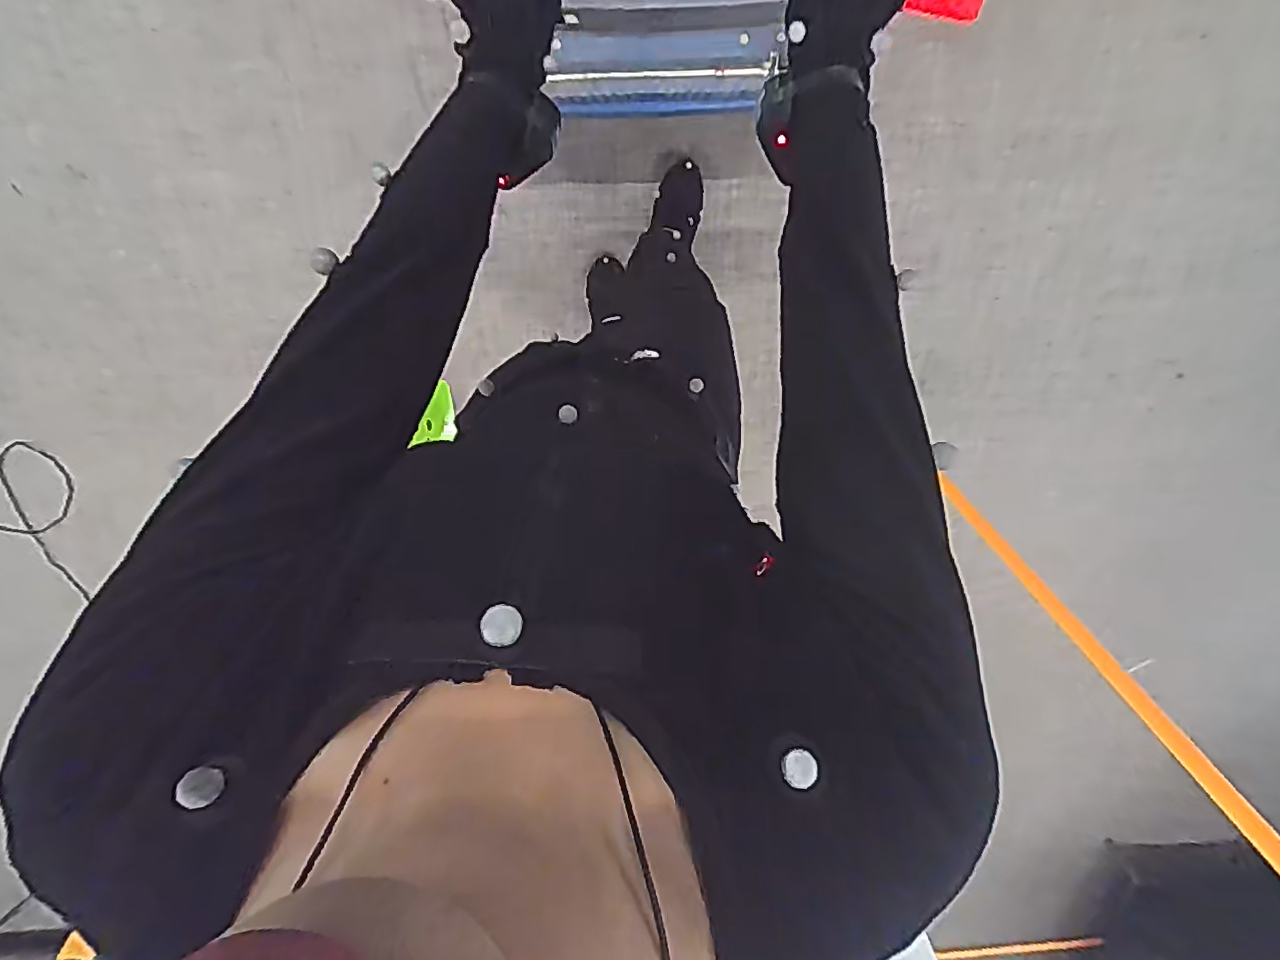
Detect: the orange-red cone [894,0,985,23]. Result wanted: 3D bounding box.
[{"bbox_3d":[0.633,-0.994,0.941,0.198,0.360,0.199,9,115,-4],"label":"orange-red cone"}]
